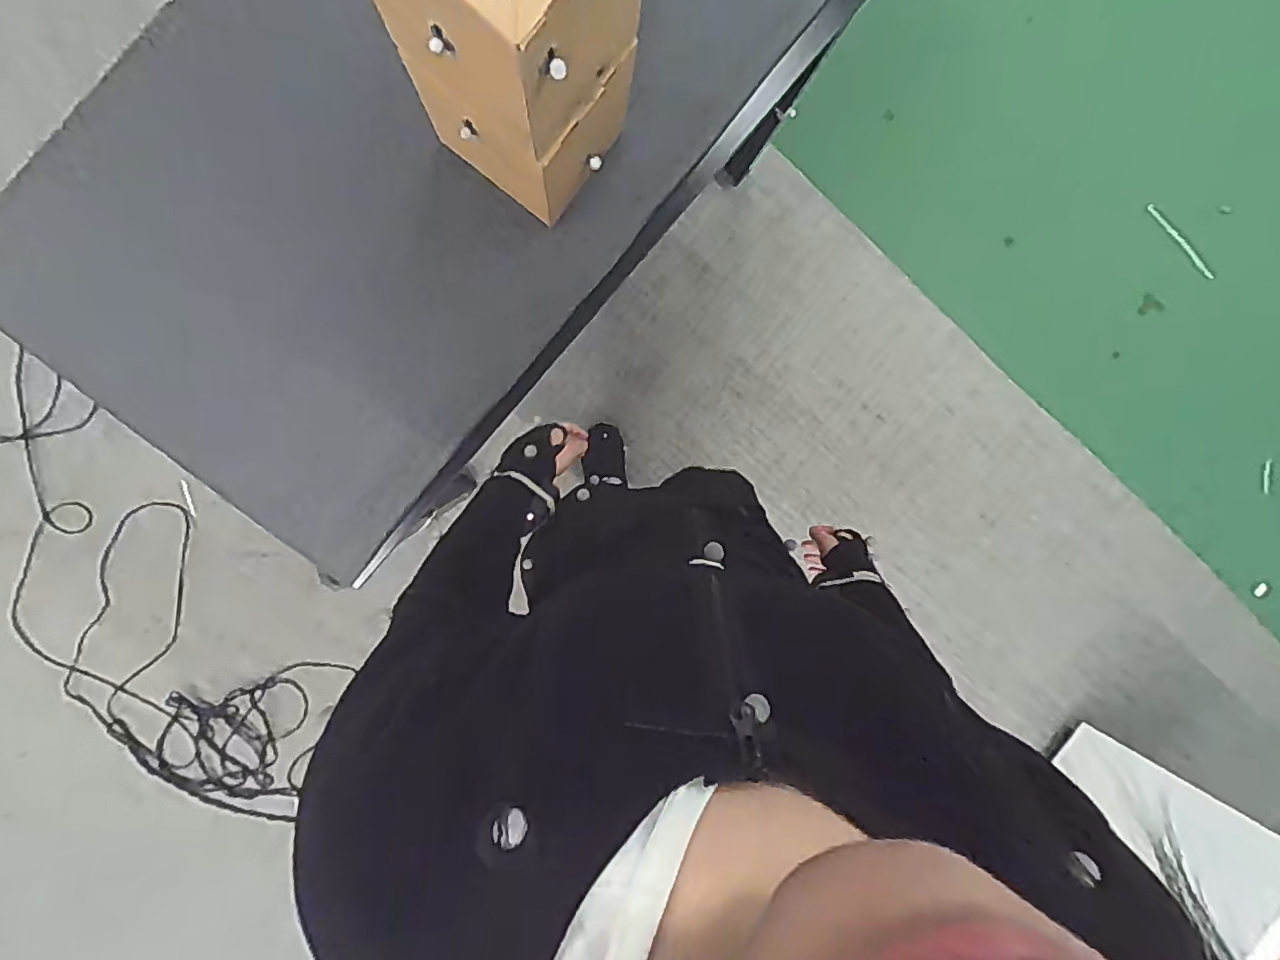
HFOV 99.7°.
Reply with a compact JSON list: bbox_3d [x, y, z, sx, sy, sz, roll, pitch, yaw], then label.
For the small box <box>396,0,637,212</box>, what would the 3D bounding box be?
[{"bbox_3d":[-0.127,-0.441,0.603,0.179,0.176,0.168,36,90,-8],"label":"small box"}]
